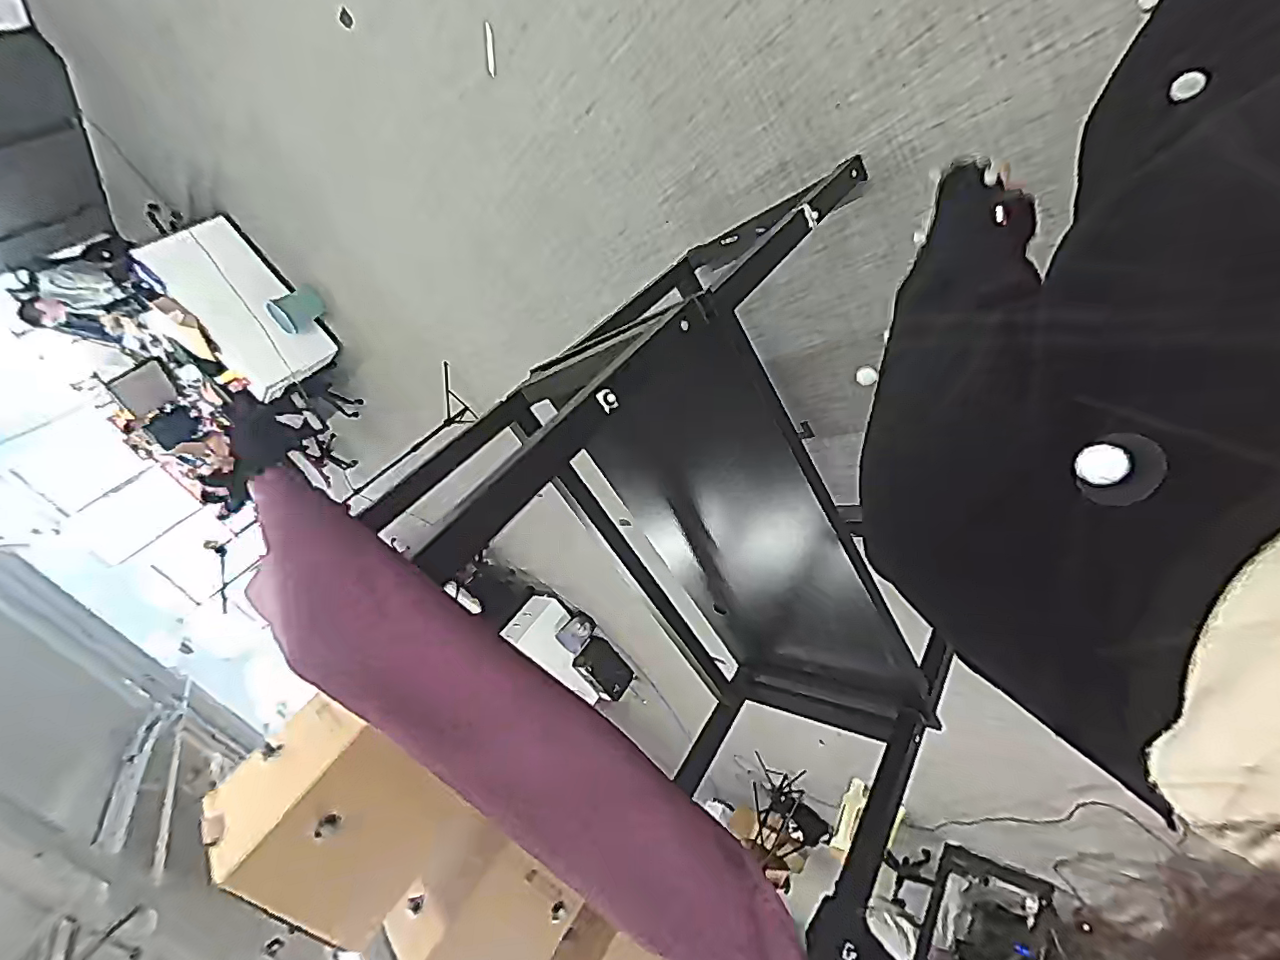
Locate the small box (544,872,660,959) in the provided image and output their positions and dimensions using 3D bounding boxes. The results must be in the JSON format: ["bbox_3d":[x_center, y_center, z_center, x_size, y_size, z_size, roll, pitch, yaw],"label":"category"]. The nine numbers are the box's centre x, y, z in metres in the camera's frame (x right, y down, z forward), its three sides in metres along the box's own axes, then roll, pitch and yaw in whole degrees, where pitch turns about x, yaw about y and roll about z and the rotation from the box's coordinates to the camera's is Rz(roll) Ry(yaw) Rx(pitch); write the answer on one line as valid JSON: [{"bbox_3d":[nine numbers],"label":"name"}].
[{"bbox_3d":[-0.089,0.752,0.821,0.168,0.176,0.179,-1,129,48],"label":"small box"}]

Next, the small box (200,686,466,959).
[{"bbox_3d":[-0.334,0.363,0.602,0.168,0.176,0.179,2,132,48],"label":"small box"}]

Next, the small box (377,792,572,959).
[{"bbox_3d":[-0.216,0.555,0.714,0.179,0.176,0.168,-4,127,51],"label":"small box"}]
